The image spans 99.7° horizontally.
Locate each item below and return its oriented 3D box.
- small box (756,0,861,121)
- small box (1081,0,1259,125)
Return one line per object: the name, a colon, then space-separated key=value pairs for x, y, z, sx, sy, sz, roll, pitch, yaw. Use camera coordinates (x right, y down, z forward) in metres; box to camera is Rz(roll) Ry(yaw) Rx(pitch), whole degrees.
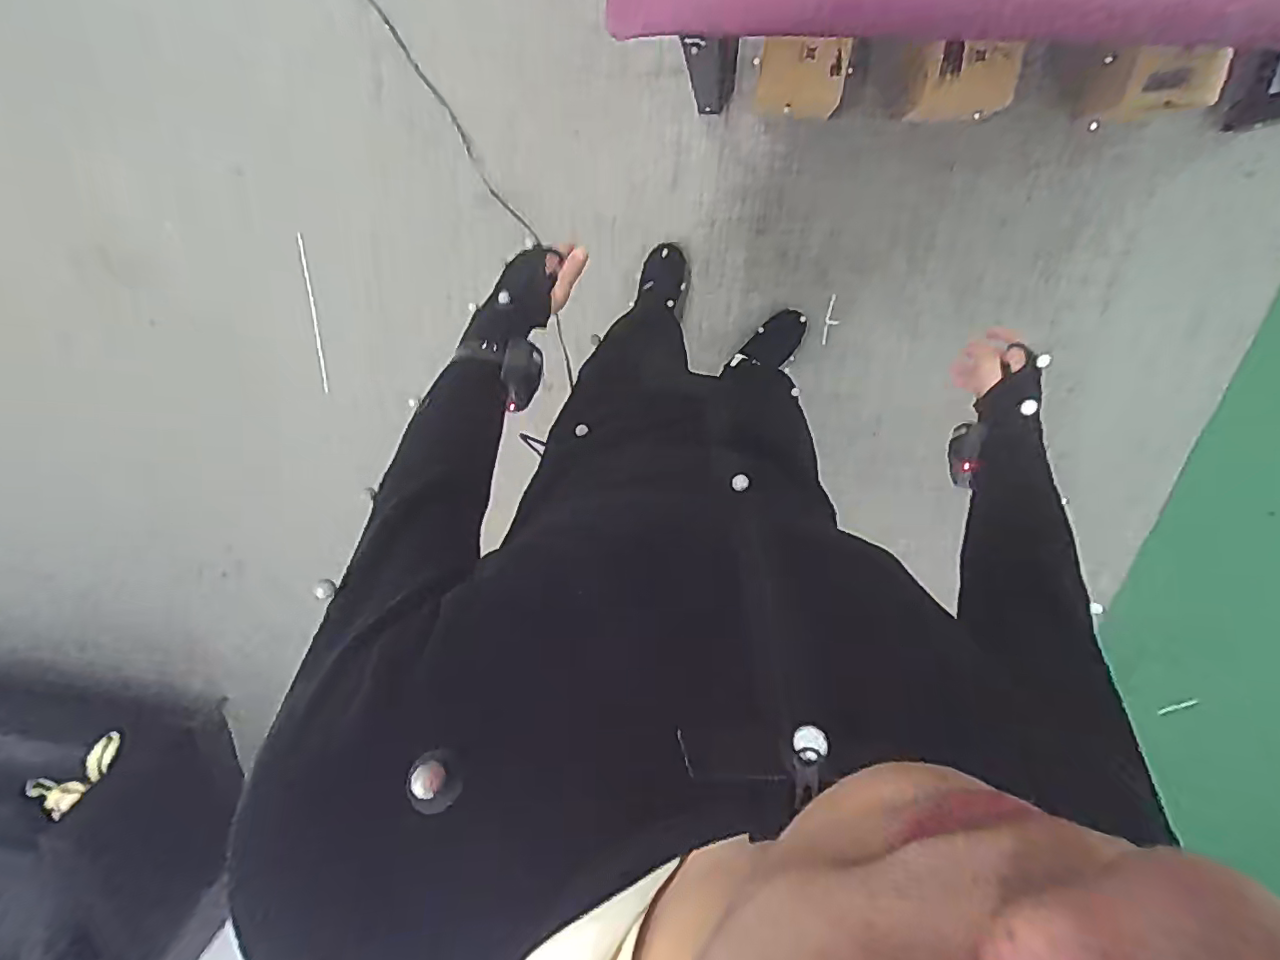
small box: x=0.352 y=-0.892 z=1.165 sx=0.179 sy=0.176 sz=0.168 roll=10 pitch=114 yaw=7
small box: x=1.029 y=-0.820 z=1.072 sx=0.168 sy=0.176 sz=0.179 roll=5 pitch=113 yaw=8
